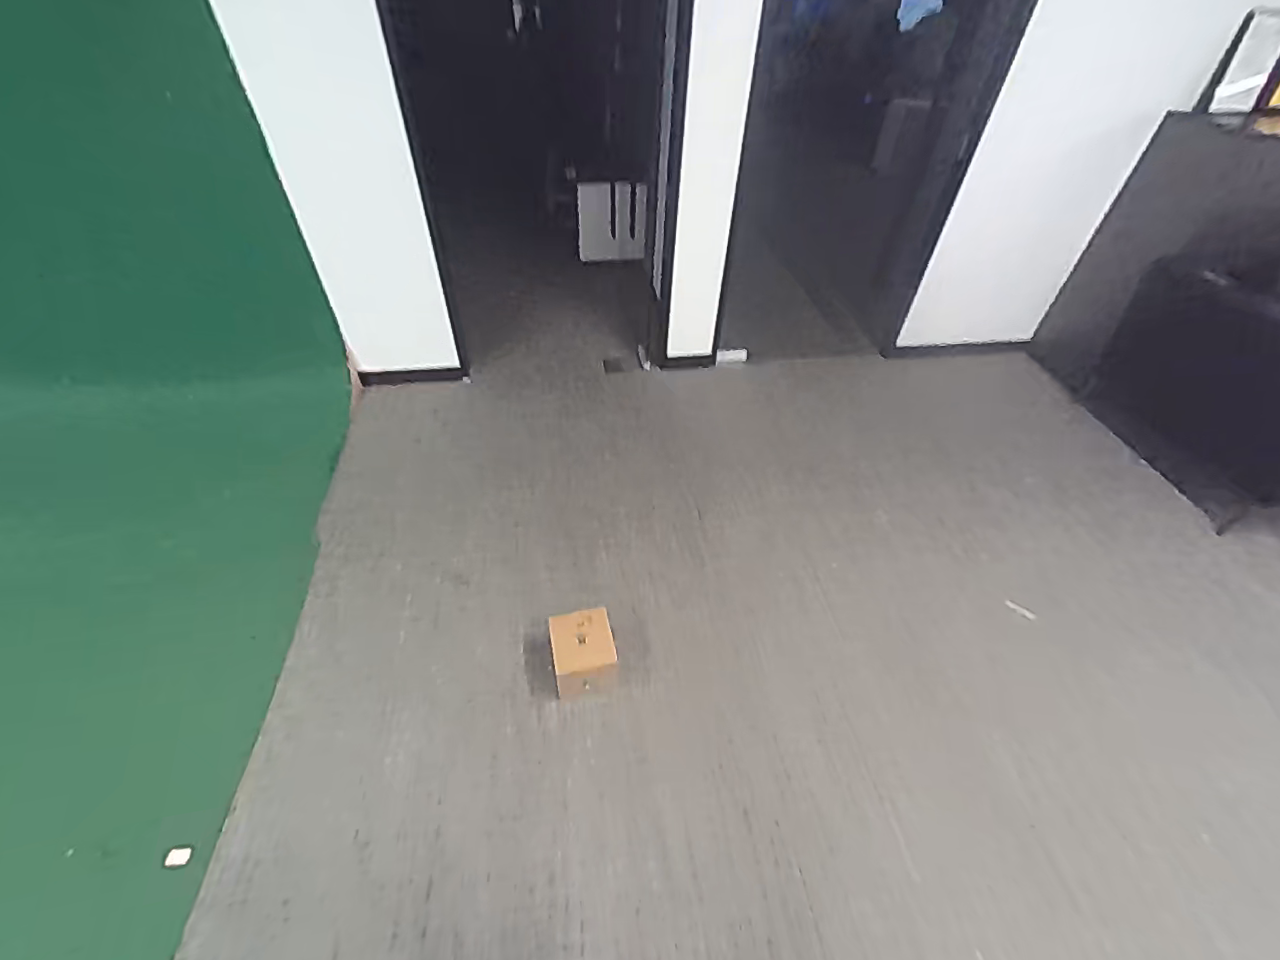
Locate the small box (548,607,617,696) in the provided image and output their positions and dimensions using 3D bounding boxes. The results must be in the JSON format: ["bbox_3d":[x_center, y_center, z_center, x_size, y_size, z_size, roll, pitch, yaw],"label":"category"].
[{"bbox_3d":[-0.160,0.488,1.519,0.168,0.176,0.179,-8,46,-11],"label":"small box"}]
